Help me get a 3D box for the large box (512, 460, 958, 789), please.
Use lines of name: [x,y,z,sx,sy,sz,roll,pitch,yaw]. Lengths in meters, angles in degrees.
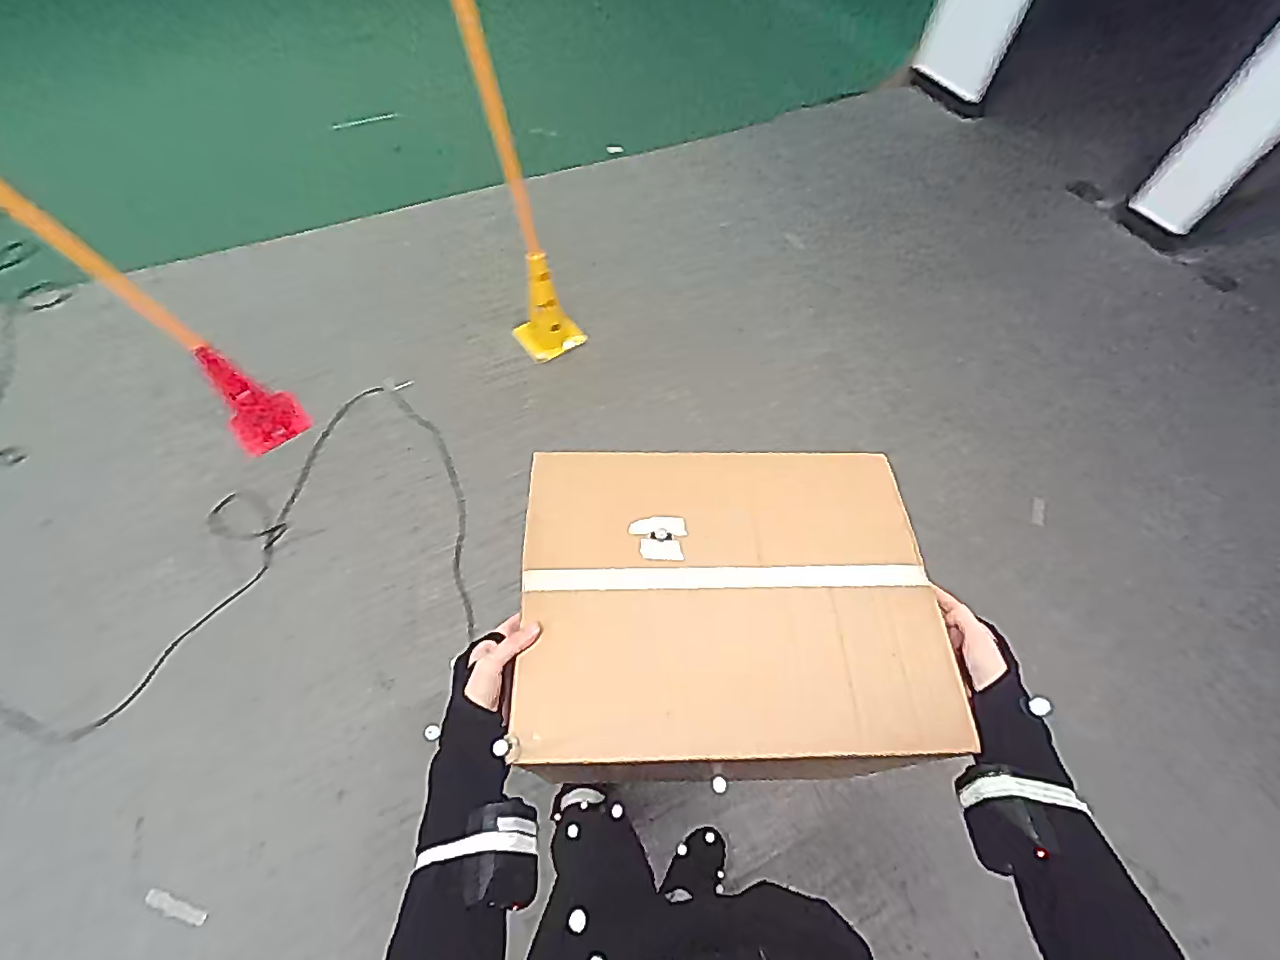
large box: [0.078,0.193,0.675,0.408,0.320,0.320,-2,57,-2]
